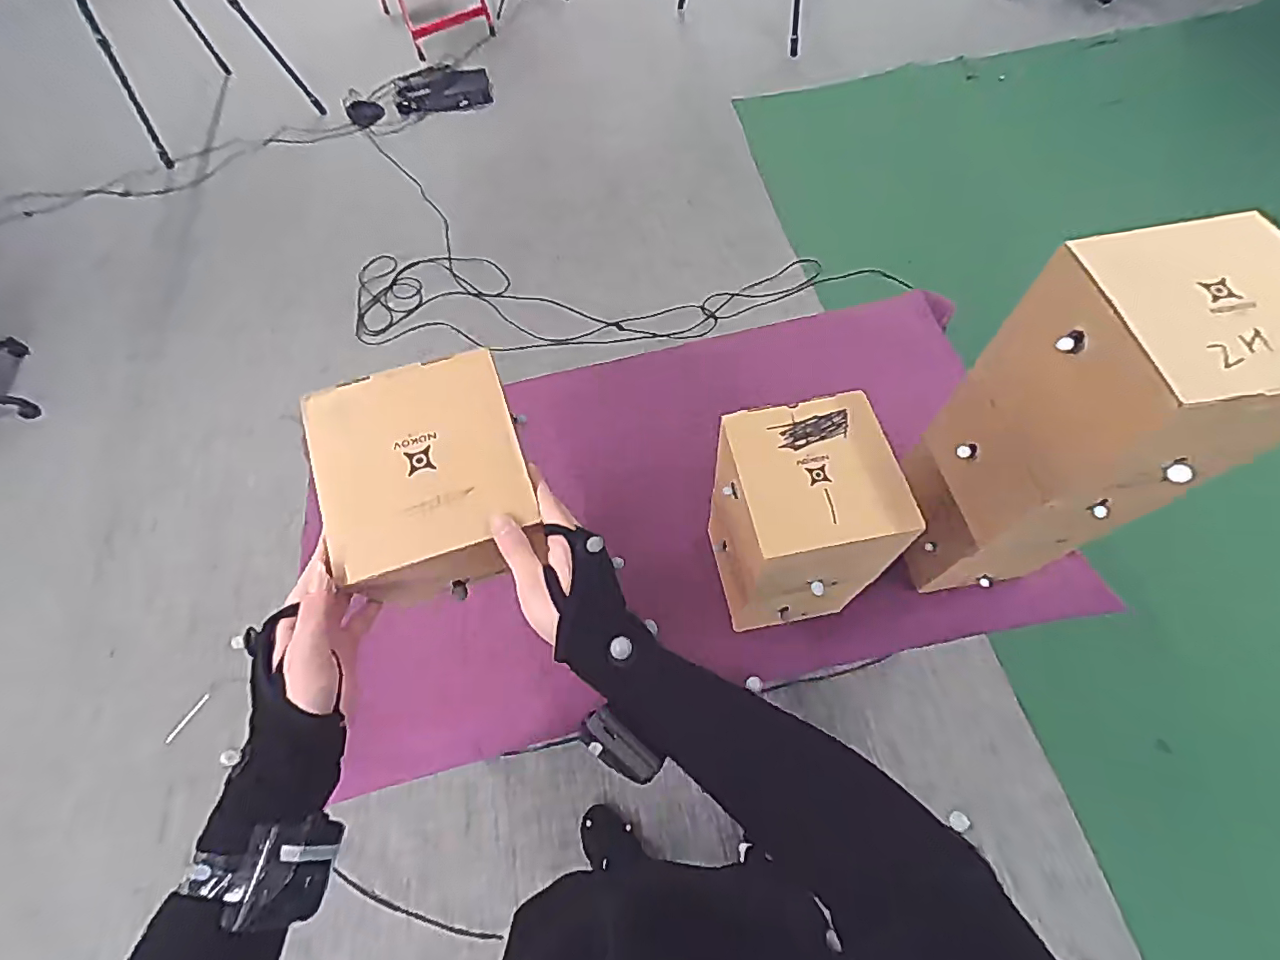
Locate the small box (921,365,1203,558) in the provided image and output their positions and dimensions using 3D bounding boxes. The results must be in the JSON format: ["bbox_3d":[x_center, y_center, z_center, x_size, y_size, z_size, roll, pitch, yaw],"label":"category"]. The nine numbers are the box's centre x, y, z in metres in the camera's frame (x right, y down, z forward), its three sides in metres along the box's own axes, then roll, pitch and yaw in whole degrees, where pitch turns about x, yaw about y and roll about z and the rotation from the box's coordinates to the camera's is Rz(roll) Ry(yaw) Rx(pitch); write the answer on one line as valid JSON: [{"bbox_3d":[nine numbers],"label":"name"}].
[{"bbox_3d":[0.466,-0.027,0.638,0.168,0.176,0.179,-9,62,1],"label":"small box"}]

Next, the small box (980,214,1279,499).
[{"bbox_3d":[0.454,-0.103,0.492,0.168,0.176,0.179,-9,63,1],"label":"small box"}]

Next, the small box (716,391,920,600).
[{"bbox_3d":[0.189,0.025,0.639,0.168,0.176,0.179,-11,62,0],"label":"small box"}]

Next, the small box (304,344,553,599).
[{"bbox_3d":[-0.188,0.002,0.523,0.168,0.176,0.179,-17,75,-10],"label":"small box"}]

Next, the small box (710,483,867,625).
[{"bbox_3d":[0.200,0.102,0.783,0.168,0.176,0.179,-11,61,-1],"label":"small box"}]
